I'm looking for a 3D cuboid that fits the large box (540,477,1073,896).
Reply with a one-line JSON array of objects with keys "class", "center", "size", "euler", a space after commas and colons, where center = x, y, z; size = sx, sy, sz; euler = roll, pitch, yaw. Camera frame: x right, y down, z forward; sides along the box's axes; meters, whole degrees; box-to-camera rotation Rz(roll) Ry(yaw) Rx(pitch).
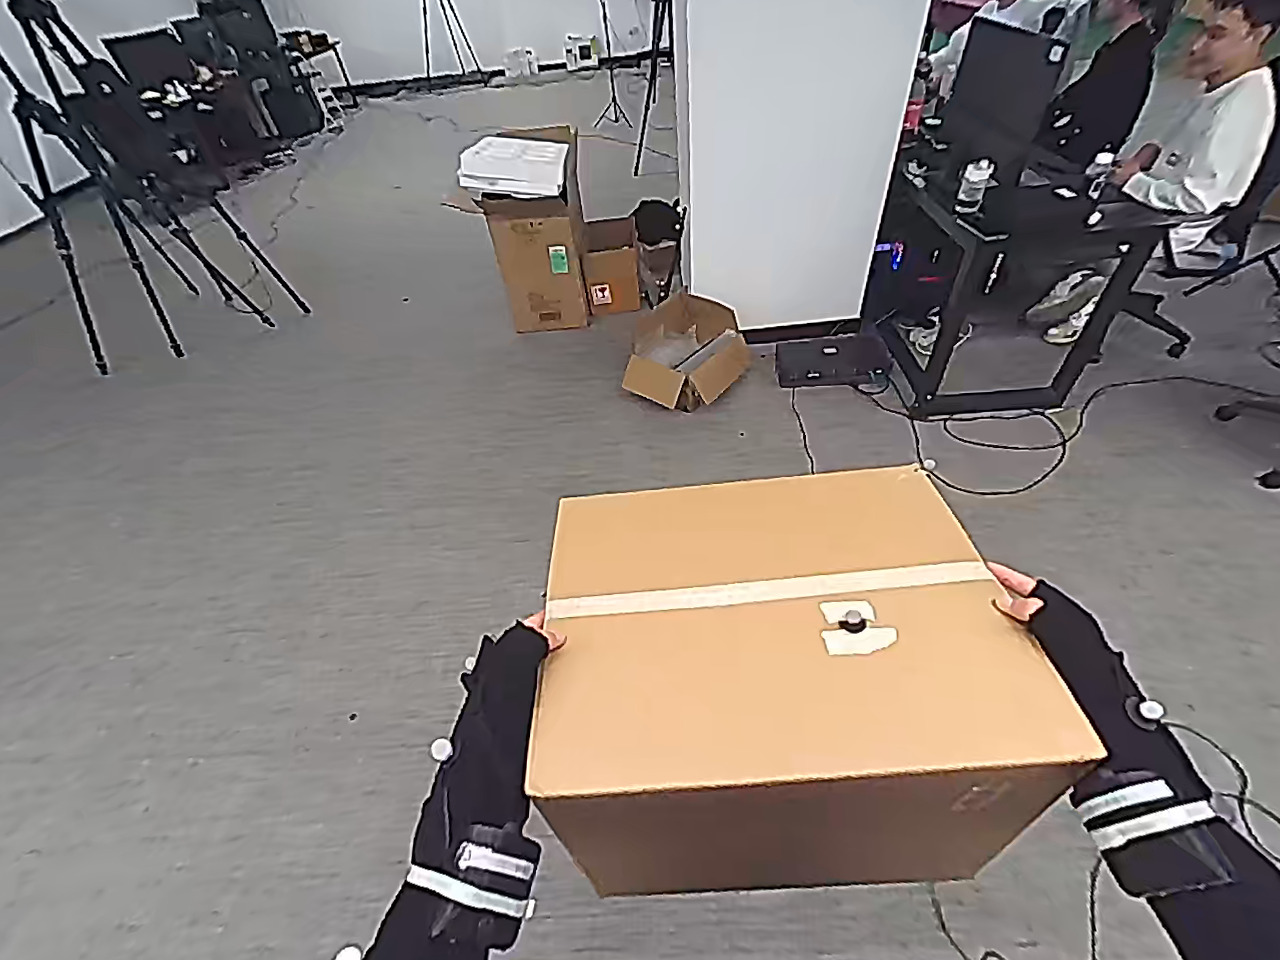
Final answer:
[{"class": "large box", "center": [0.129, 0.228, 0.606], "size": [0.408, 0.320, 0.320], "euler": [-6, 41, 3]}]
